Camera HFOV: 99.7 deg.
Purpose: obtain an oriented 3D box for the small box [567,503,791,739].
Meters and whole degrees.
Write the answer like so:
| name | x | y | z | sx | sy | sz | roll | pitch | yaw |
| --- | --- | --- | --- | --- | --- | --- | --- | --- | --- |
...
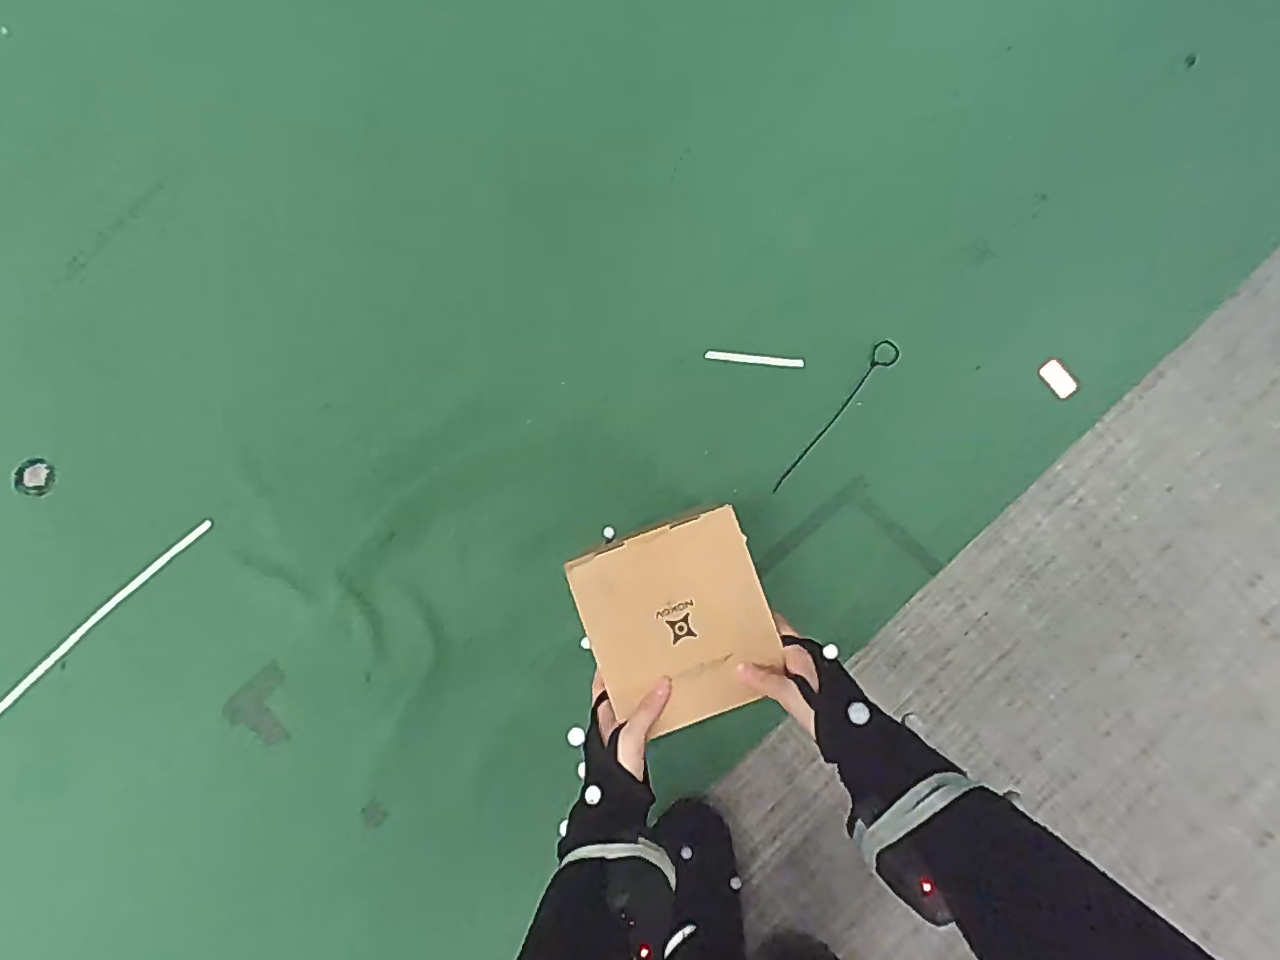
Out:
| name | x | y | z | sx | sy | sz | roll | pitch | yaw |
| --- | --- | --- | --- | --- | --- | --- | --- | --- | --- |
| small box | 0.033 | 0.133 | 0.574 | 0.168 | 0.176 | 0.179 | -20 | 88 | -2 |
